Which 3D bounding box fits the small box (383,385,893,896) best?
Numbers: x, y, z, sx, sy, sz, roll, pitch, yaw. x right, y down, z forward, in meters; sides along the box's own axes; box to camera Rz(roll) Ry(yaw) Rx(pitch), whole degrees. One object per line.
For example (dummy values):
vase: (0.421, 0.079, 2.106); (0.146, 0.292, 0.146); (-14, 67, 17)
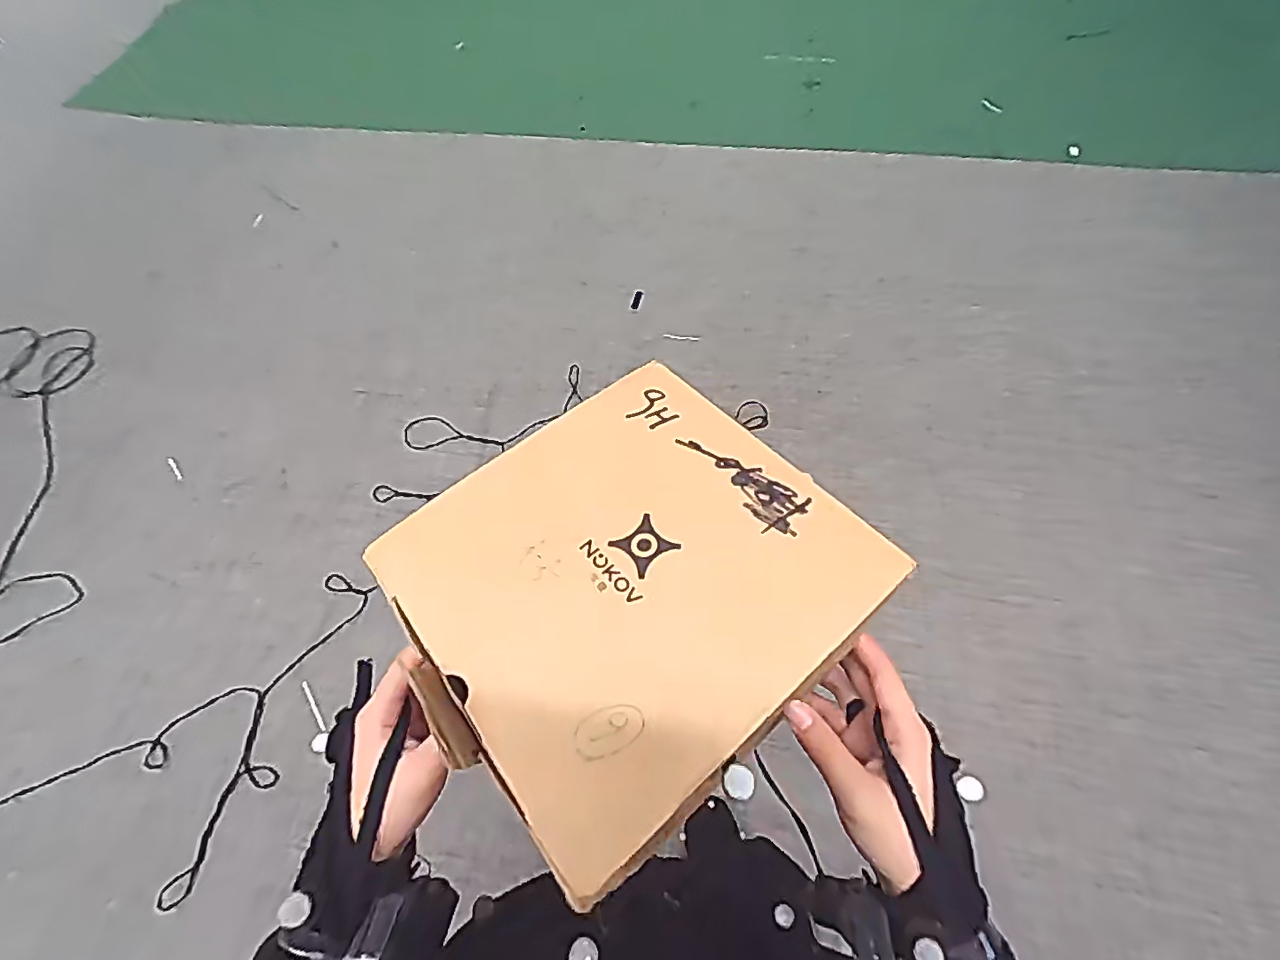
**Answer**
small box: (0.001, 0.088, 0.308); (0.179, 0.176, 0.168); (-37, 61, -19)
